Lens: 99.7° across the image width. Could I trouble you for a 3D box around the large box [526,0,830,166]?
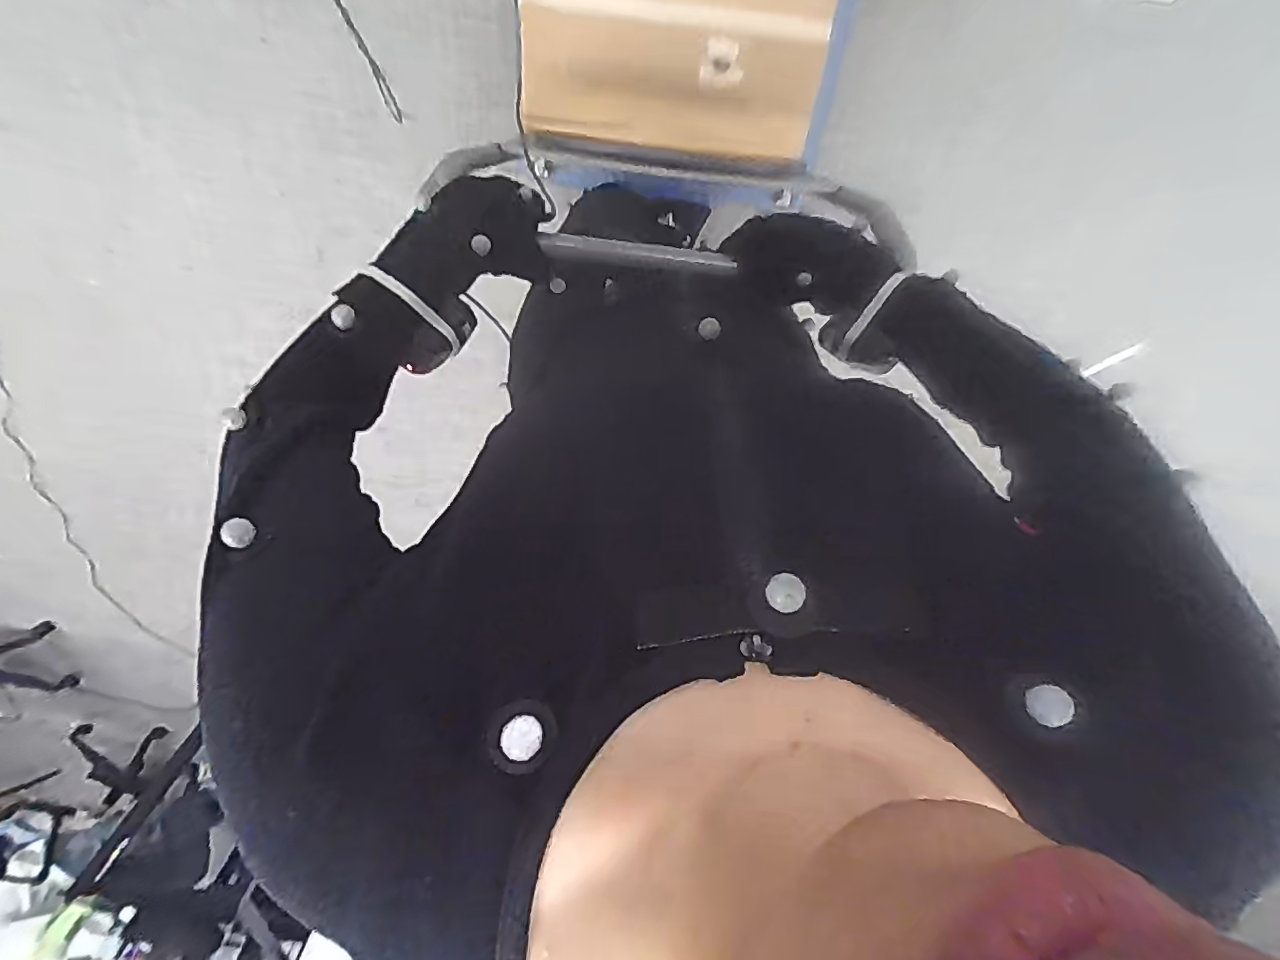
[{"bbox_3d":[0.047,-0.694,0.837,0.408,0.320,0.320,5,125,-3],"label":"large box"}]
